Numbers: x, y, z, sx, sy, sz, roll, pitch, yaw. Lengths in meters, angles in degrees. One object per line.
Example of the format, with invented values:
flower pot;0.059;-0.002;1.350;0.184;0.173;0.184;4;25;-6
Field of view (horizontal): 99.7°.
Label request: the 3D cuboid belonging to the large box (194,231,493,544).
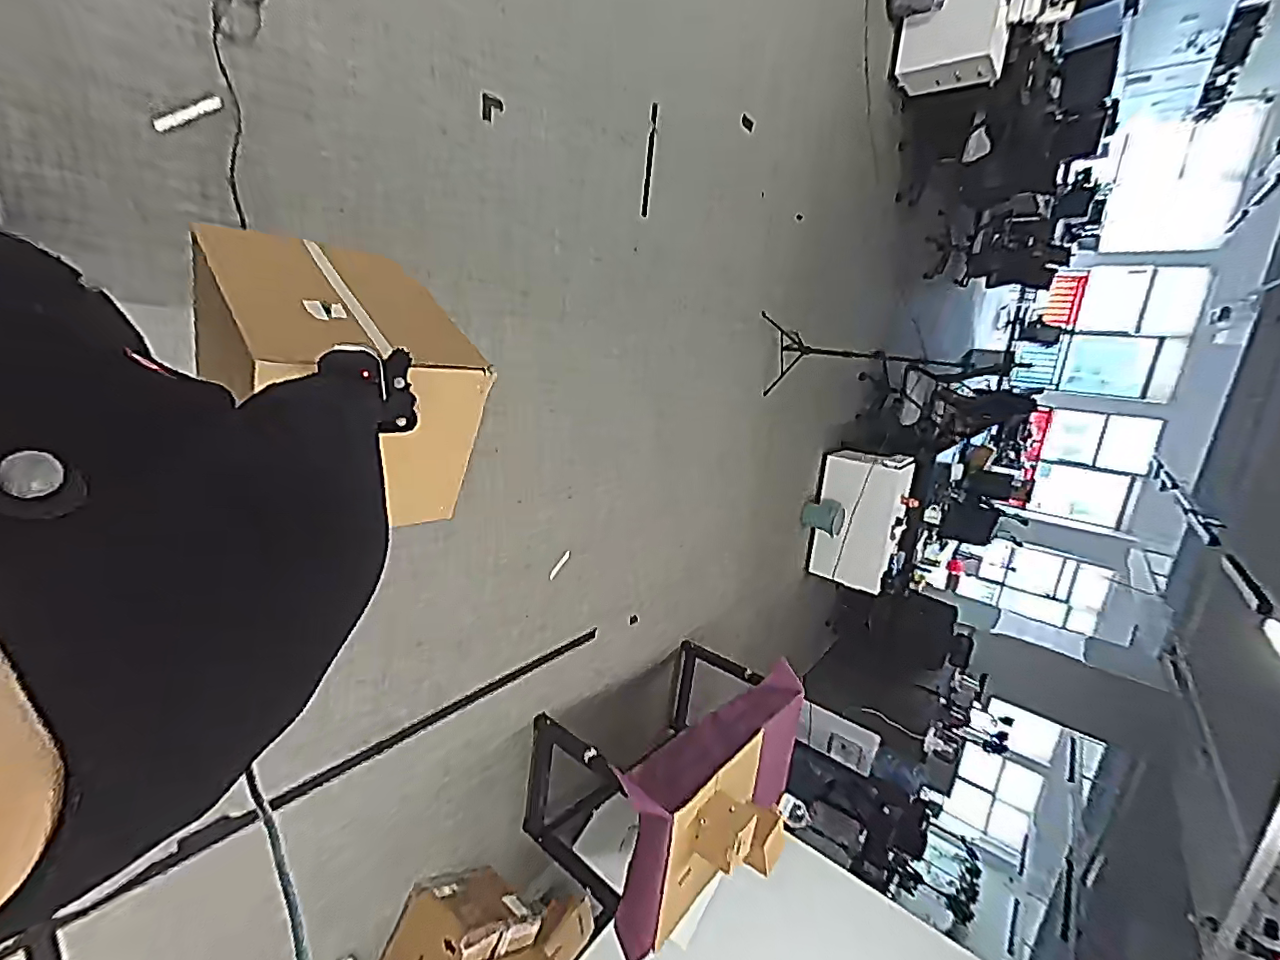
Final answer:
large box;-0.517;-0.159;0.915;0.320;0.408;0.320;-10;137;-45
